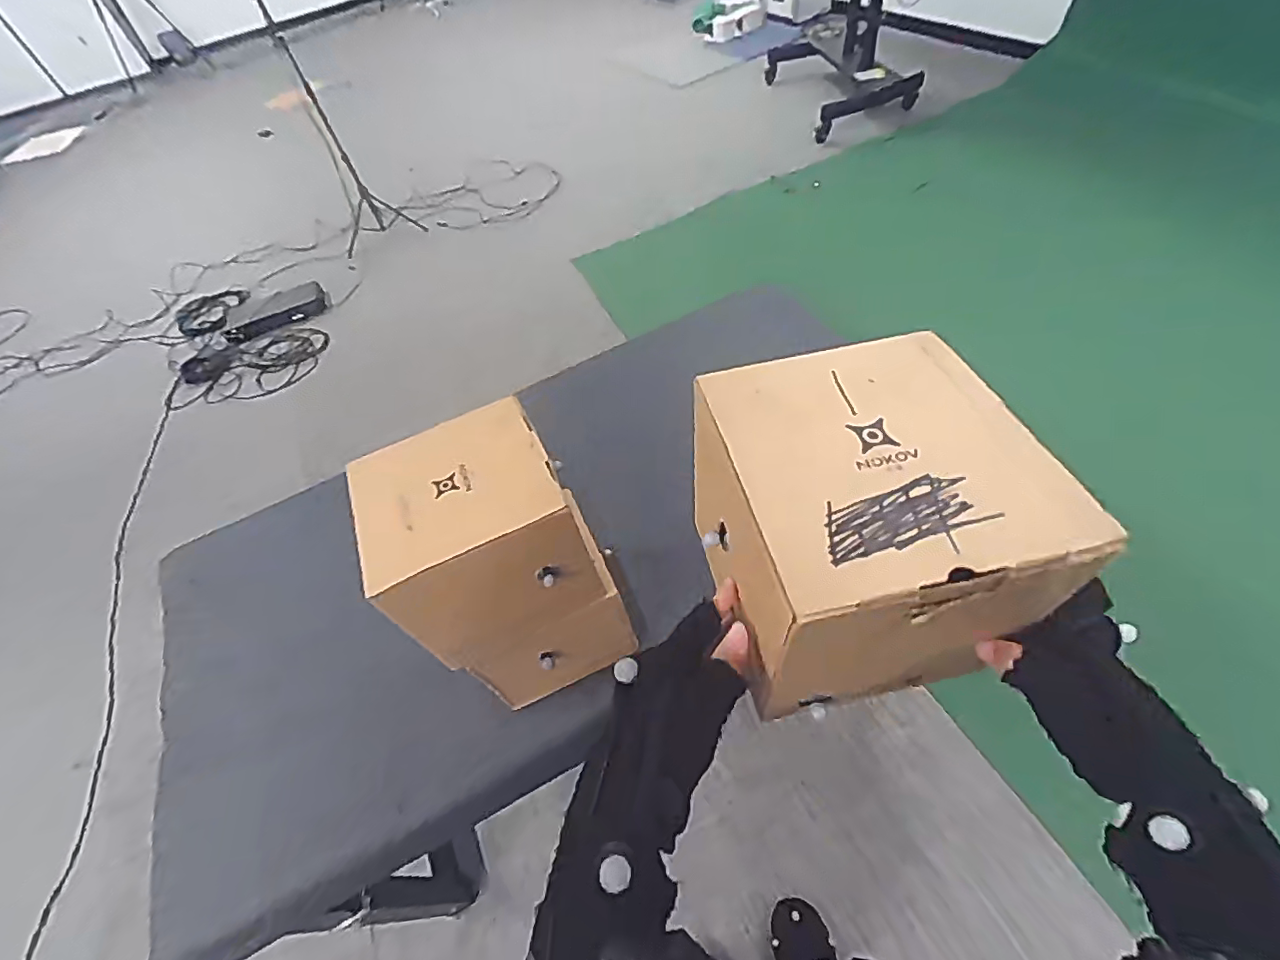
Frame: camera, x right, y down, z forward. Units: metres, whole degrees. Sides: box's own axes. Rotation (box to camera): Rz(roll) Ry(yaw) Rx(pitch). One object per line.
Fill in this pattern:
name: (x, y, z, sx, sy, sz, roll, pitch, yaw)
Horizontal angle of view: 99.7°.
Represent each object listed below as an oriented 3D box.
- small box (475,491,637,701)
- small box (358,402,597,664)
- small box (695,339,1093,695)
small box: (-0.121, 0.152, 0.686, 0.179, 0.176, 0.168, -24, 52, -8)
small box: (-0.156, 0.057, 0.558, 0.179, 0.176, 0.168, -26, 51, -9)
small box: (0.140, 0.033, 0.379, 0.168, 0.176, 0.179, -11, 49, -4)
